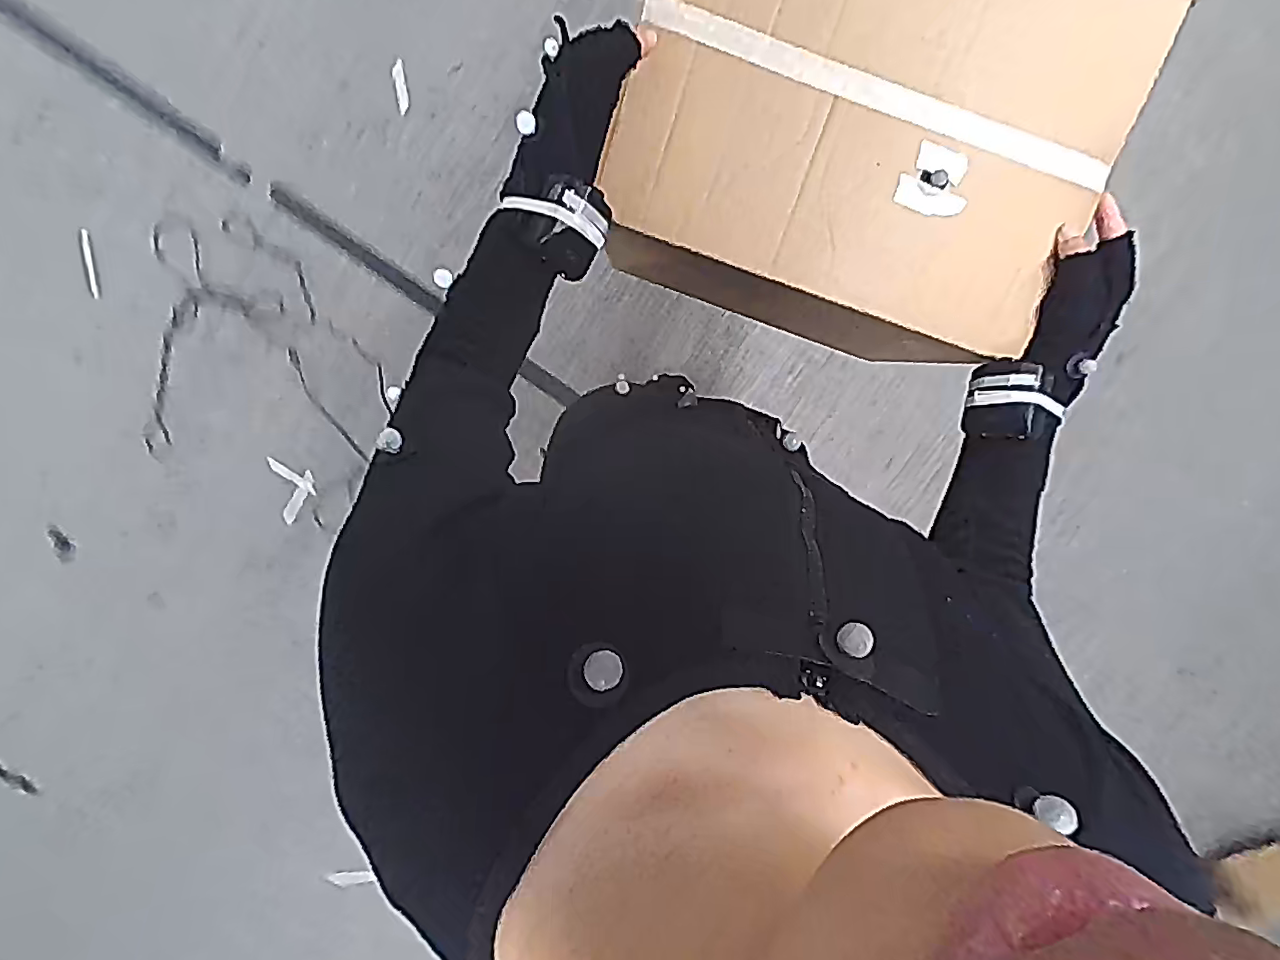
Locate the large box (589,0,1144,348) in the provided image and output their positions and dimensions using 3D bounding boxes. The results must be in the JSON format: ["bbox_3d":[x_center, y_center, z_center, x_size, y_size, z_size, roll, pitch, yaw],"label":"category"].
[{"bbox_3d":[0.181,-0.352,0.600,0.408,0.320,0.320,16,104,-4],"label":"large box"}]
